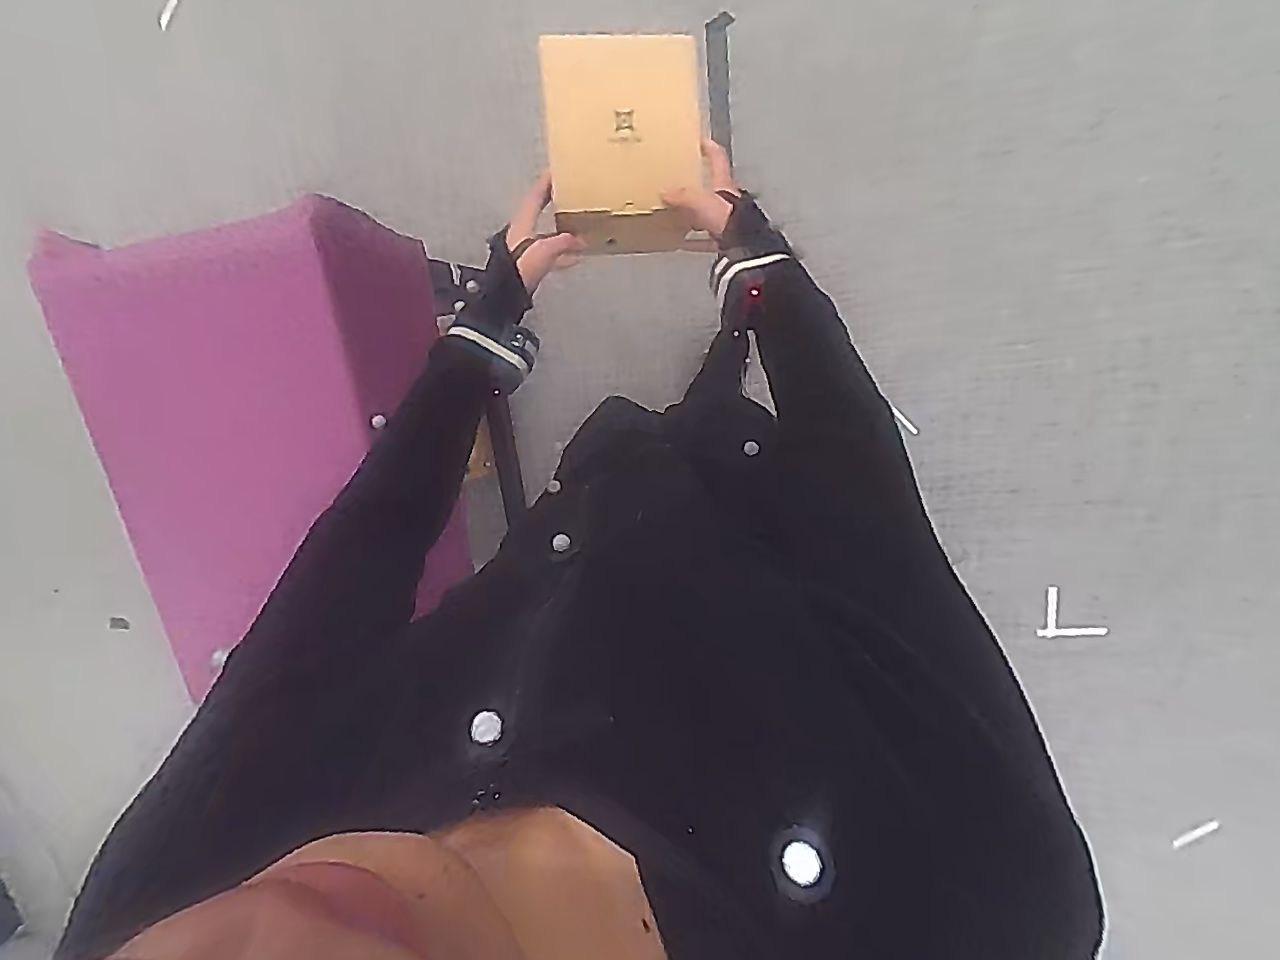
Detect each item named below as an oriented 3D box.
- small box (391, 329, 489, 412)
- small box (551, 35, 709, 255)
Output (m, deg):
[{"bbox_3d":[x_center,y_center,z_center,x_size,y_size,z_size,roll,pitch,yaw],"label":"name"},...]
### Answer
[{"bbox_3d":[-0.579,-0.324,1.588,0.179,0.176,0.168,-33,98,18],"label":"small box"},{"bbox_3d":[-0.019,-0.385,0.652,0.168,0.176,0.179,-4,99,-6],"label":"small box"}]
